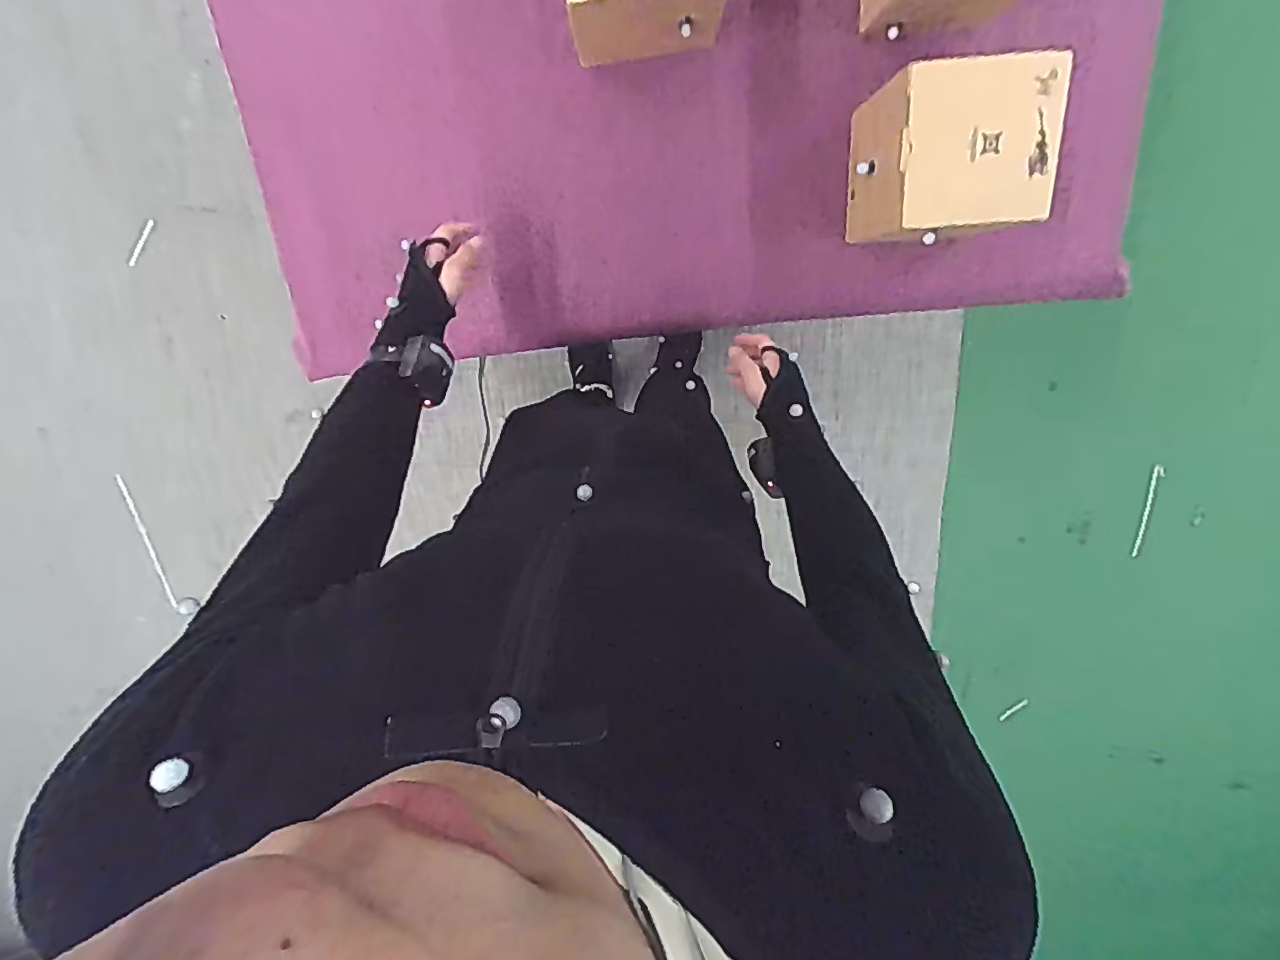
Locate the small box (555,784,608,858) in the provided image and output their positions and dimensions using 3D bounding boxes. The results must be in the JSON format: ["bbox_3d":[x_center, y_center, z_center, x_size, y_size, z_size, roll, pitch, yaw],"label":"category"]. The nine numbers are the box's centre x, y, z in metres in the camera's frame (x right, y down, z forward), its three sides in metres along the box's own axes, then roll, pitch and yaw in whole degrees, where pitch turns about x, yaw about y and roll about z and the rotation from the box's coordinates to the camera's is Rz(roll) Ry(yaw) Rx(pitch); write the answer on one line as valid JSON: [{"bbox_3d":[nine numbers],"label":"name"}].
[{"bbox_3d":[-0.208,1.241,1.976,0.179,0.176,0.168,-2,109,1],"label":"small box"}]

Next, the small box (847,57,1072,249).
[{"bbox_3d":[0.371,-0.385,0.667,0.179,0.176,0.168,-3,108,1],"label":"small box"}]

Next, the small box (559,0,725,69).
[{"bbox_3d":[-0.006,-0.590,0.596,0.179,0.176,0.168,-7,108,2],"label":"small box"}]

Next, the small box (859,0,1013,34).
[{"bbox_3d":[0.352,-0.623,0.588,0.168,0.176,0.179,-5,108,1],"label":"small box"}]
